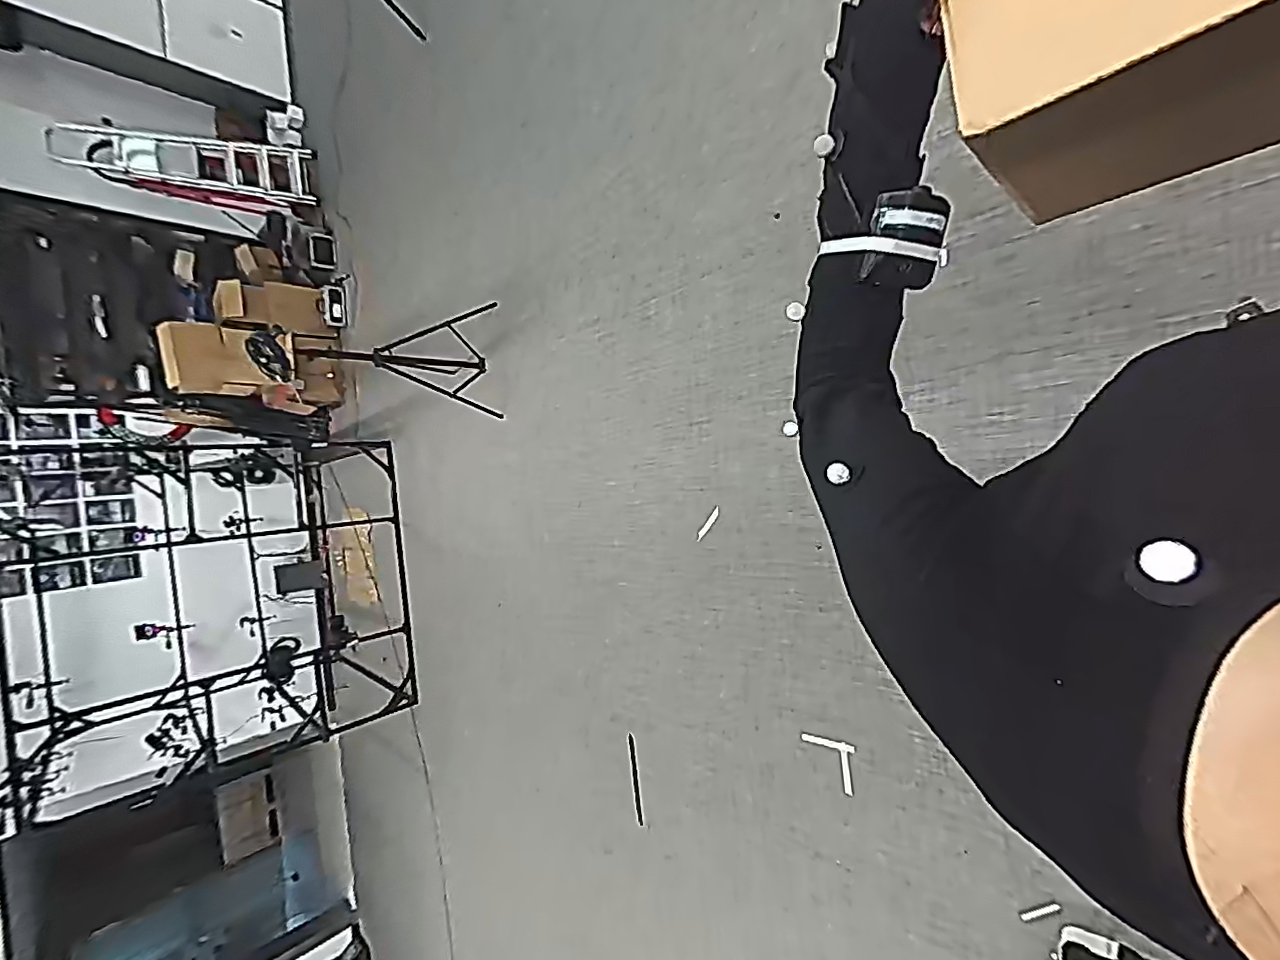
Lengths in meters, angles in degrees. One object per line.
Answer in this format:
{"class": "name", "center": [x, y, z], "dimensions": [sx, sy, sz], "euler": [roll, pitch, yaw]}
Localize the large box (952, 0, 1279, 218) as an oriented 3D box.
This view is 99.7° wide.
{"class": "large box", "center": [0.448, -0.434, 0.346], "dimensions": [0.408, 0.320, 0.320], "euler": [-8, 93, 44]}
